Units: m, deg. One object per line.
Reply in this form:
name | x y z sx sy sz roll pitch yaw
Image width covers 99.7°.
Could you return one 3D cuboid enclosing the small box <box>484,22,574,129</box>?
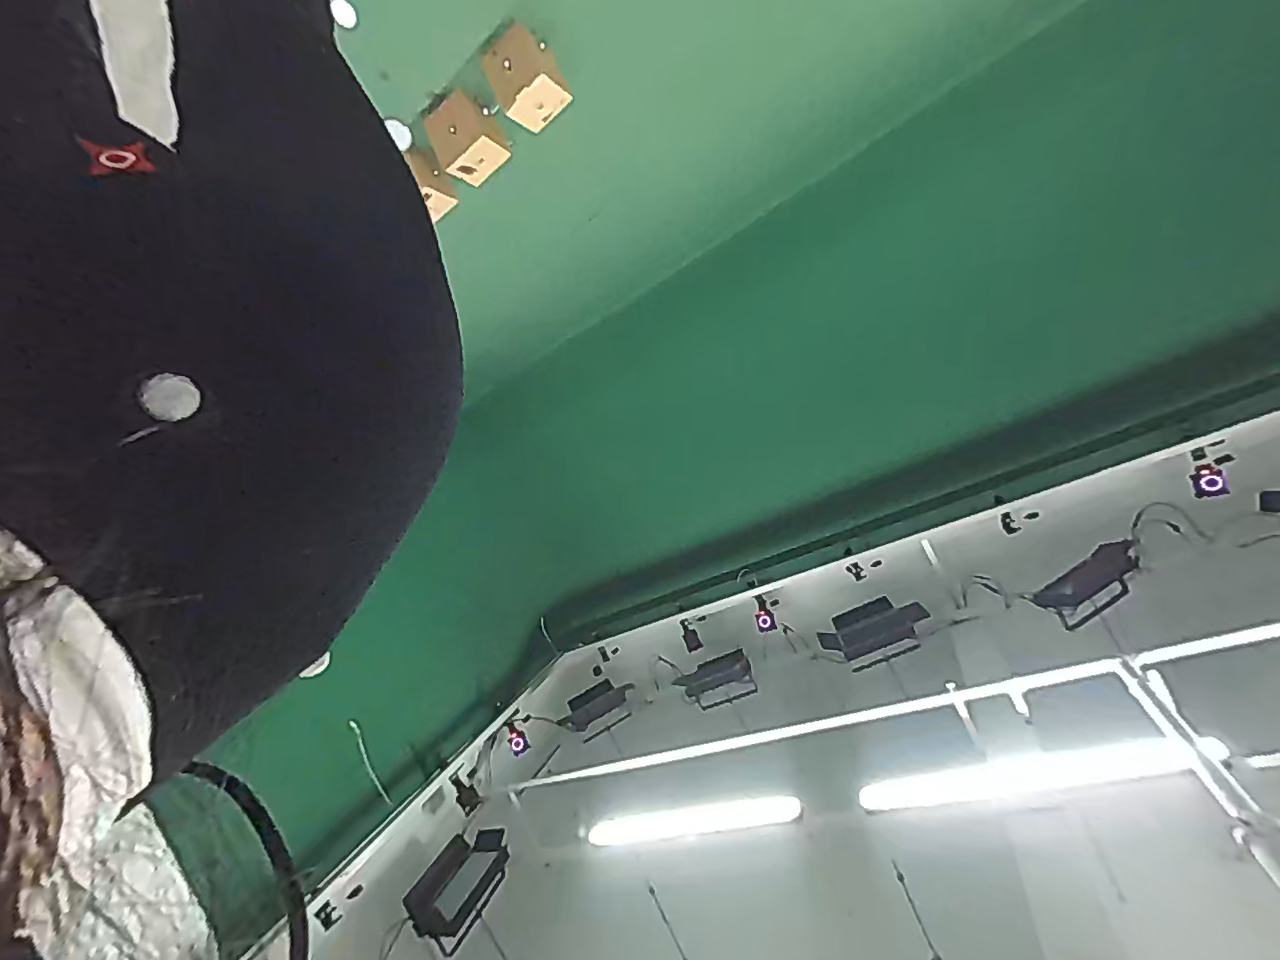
small box | -0.338 -1.221 1.633 0.168 0.176 0.179 -26 180 27
